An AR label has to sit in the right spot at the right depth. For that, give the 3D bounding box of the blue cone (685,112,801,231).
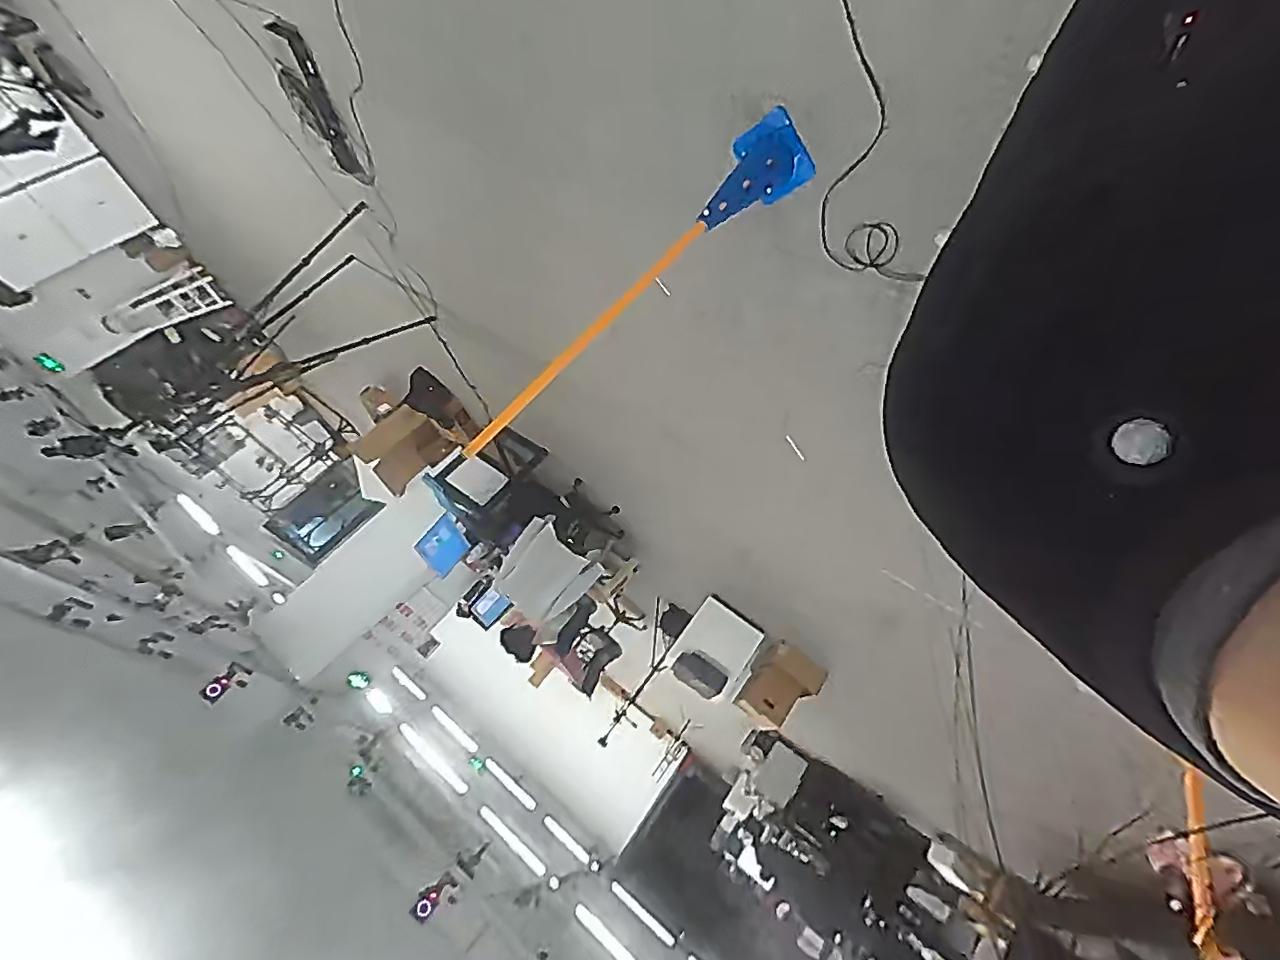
[{"bbox_3d":[0.246,-0.776,1.447,0.192,0.380,0.193,49,157,-20],"label":"blue cone"}]
